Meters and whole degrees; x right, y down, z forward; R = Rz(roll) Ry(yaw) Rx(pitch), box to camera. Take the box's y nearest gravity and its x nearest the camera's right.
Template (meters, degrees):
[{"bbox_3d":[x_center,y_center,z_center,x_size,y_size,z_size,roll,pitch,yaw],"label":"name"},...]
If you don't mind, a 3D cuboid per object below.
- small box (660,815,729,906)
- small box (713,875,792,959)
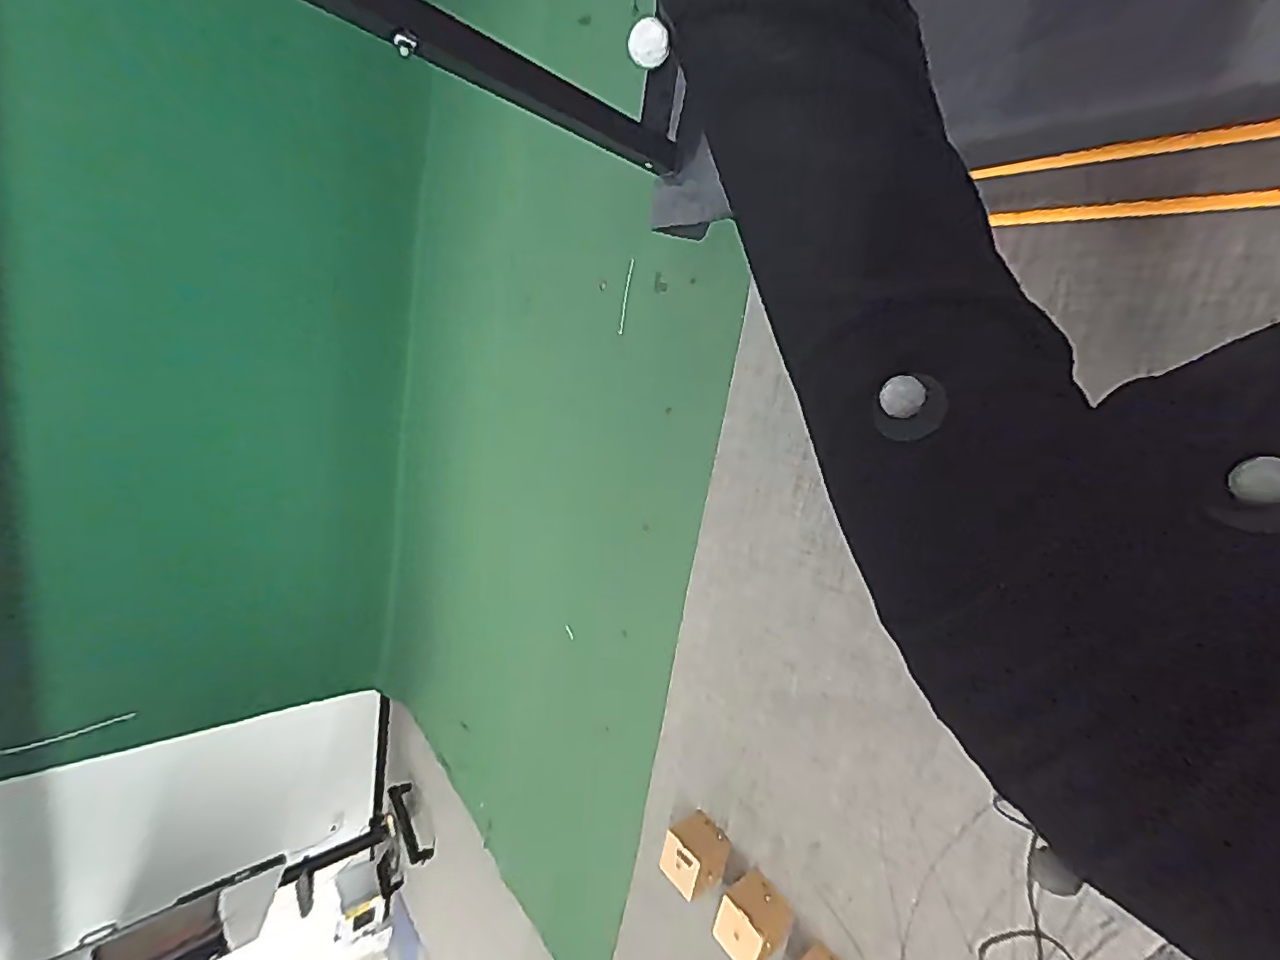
[{"bbox_3d":[0.199,1.364,1.954,0.168,0.176,0.179,25,109,45],"label":"small box"},{"bbox_3d":[0.370,1.455,1.766,0.168,0.176,0.179,26,109,45],"label":"small box"}]
